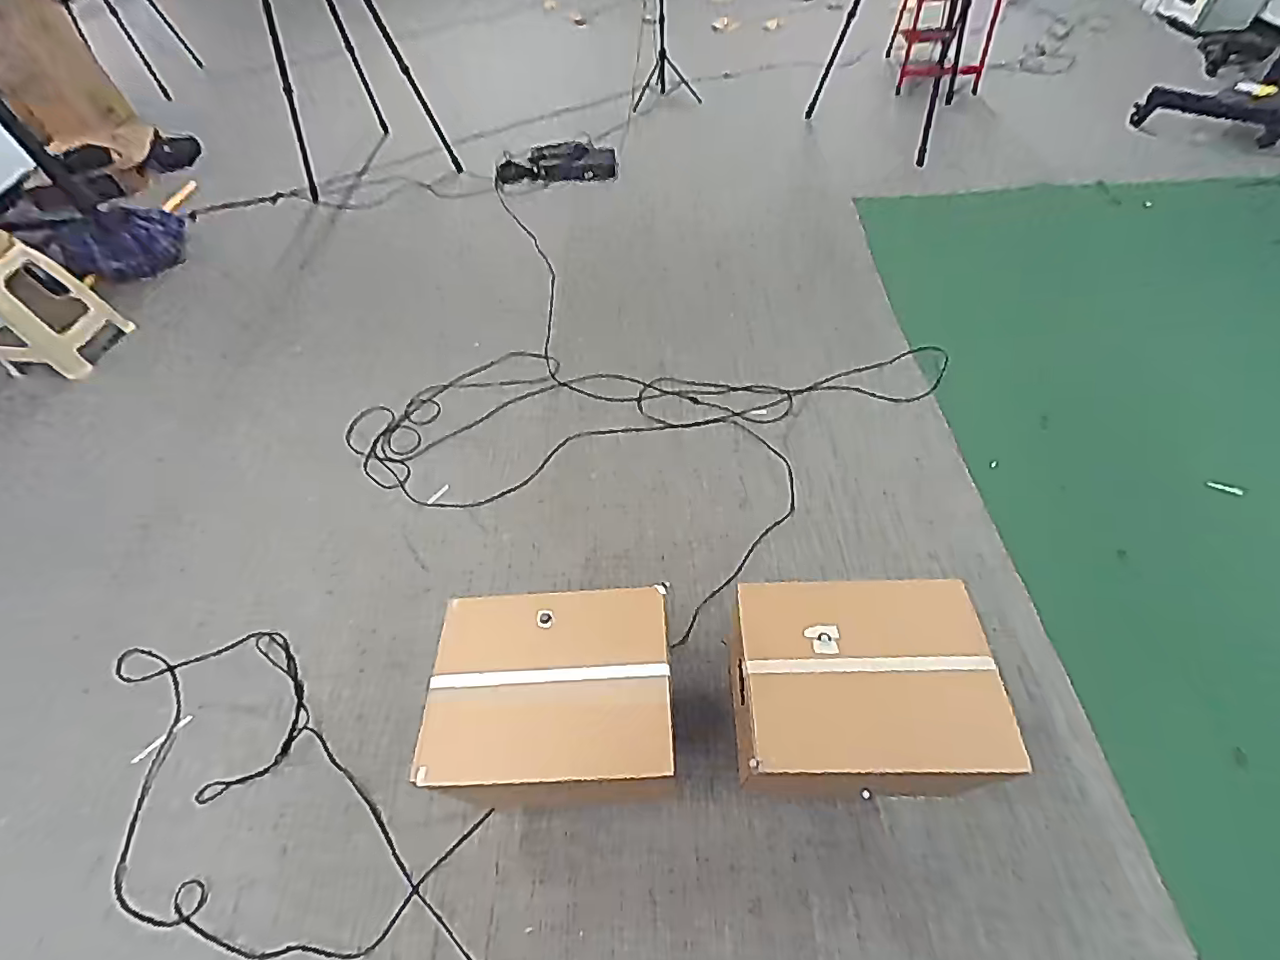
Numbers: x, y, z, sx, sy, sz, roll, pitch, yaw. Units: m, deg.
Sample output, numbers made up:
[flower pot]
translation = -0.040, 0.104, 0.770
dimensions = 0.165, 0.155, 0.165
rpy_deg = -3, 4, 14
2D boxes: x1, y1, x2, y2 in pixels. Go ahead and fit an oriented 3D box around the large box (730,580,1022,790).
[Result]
[large box]
translation = 0.392, 0.401, 1.028
dimensions = 0.408, 0.320, 0.320
rpy_deg = -2, 54, 4
